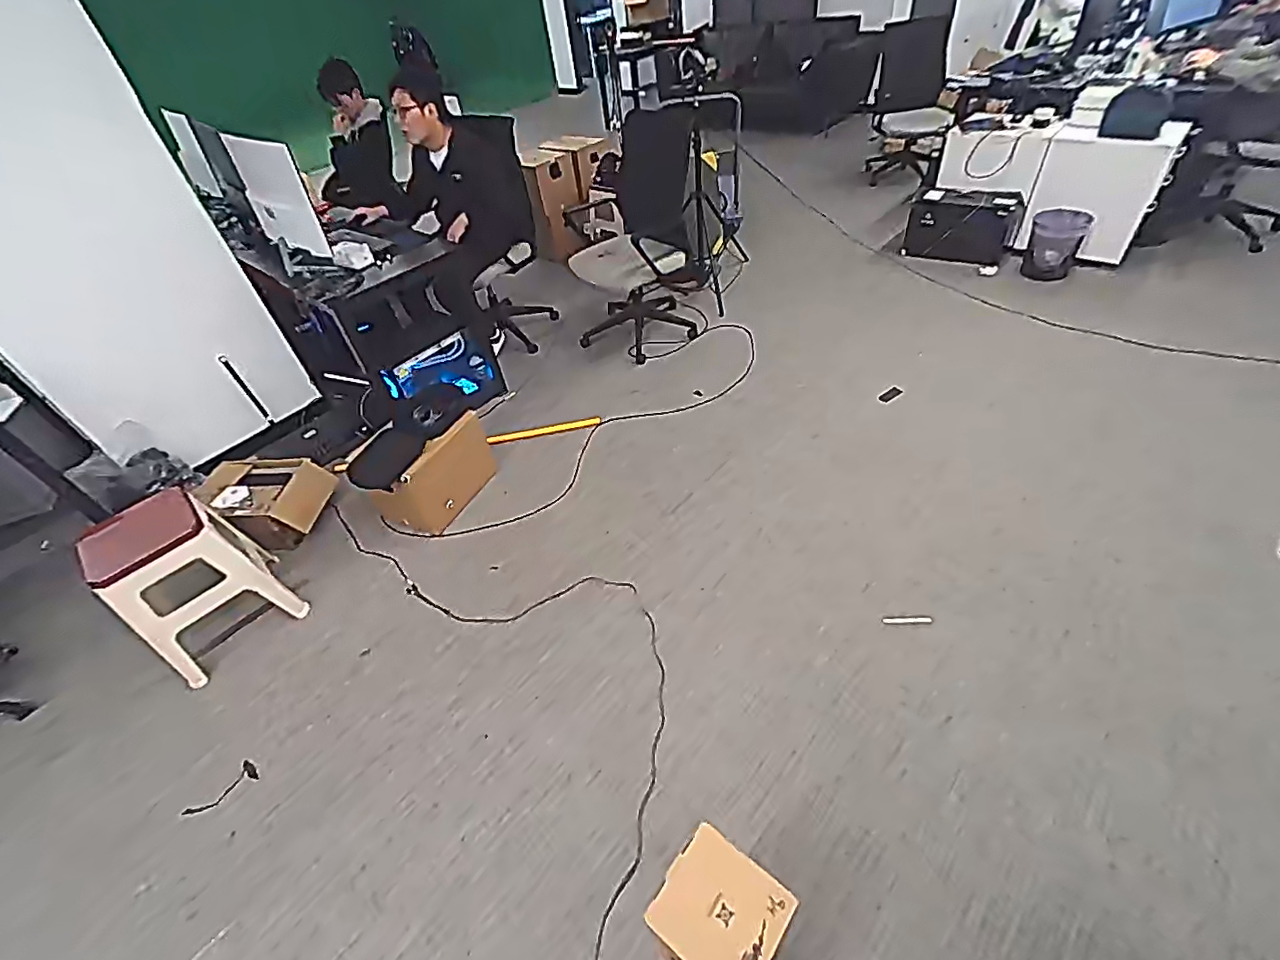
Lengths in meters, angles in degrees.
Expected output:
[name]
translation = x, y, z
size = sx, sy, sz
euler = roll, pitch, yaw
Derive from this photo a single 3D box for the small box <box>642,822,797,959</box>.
[small box]
translation = 0.126, 0.697, 0.859
size = 0.179, 0.176, 0.168
euler = 26, 54, 31
